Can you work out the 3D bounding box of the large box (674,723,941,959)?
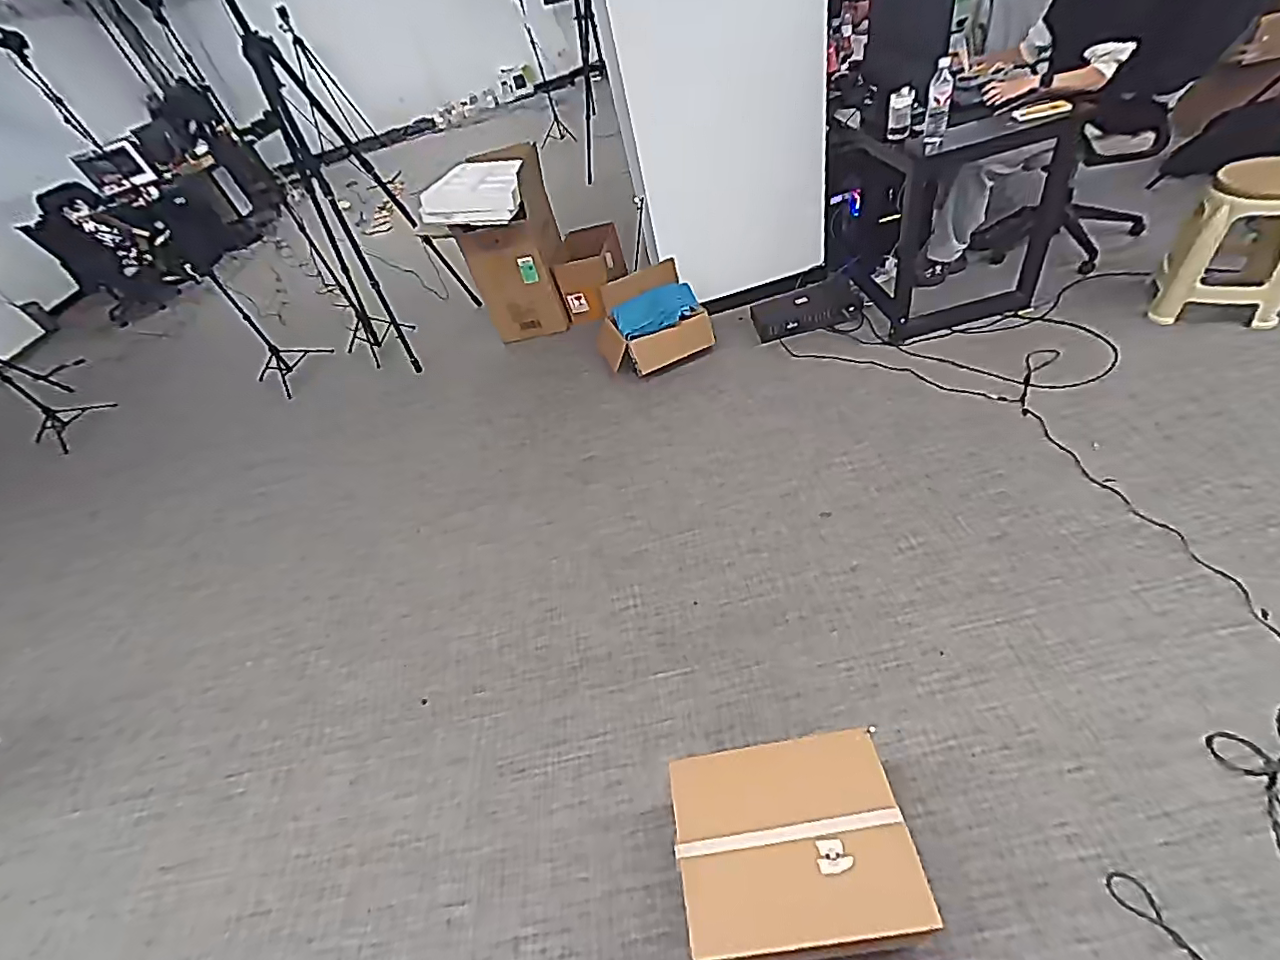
[{"bbox_3d":[0.306,0.736,1.081,0.408,0.320,0.320,-13,45,5],"label":"large box"}]
